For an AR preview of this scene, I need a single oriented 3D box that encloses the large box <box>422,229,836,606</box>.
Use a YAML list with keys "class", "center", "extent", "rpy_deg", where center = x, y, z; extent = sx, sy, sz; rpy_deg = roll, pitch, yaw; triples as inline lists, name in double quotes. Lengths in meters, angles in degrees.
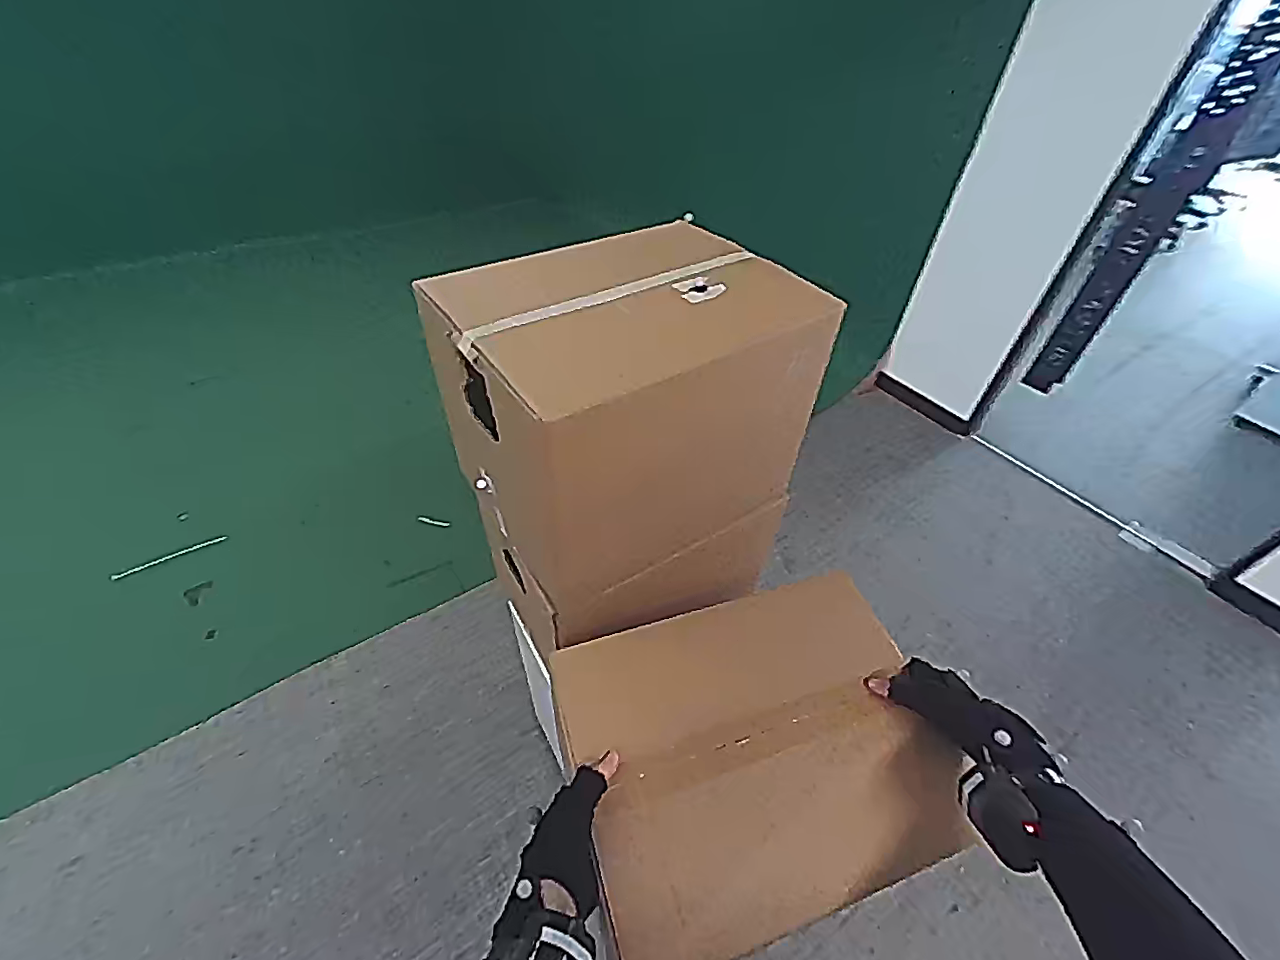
- class: "large box"
  center: [-0.019, -0.107, 0.739]
  extent: [0.408, 0.320, 0.320]
  rpy_deg: [-25, 51, -26]
